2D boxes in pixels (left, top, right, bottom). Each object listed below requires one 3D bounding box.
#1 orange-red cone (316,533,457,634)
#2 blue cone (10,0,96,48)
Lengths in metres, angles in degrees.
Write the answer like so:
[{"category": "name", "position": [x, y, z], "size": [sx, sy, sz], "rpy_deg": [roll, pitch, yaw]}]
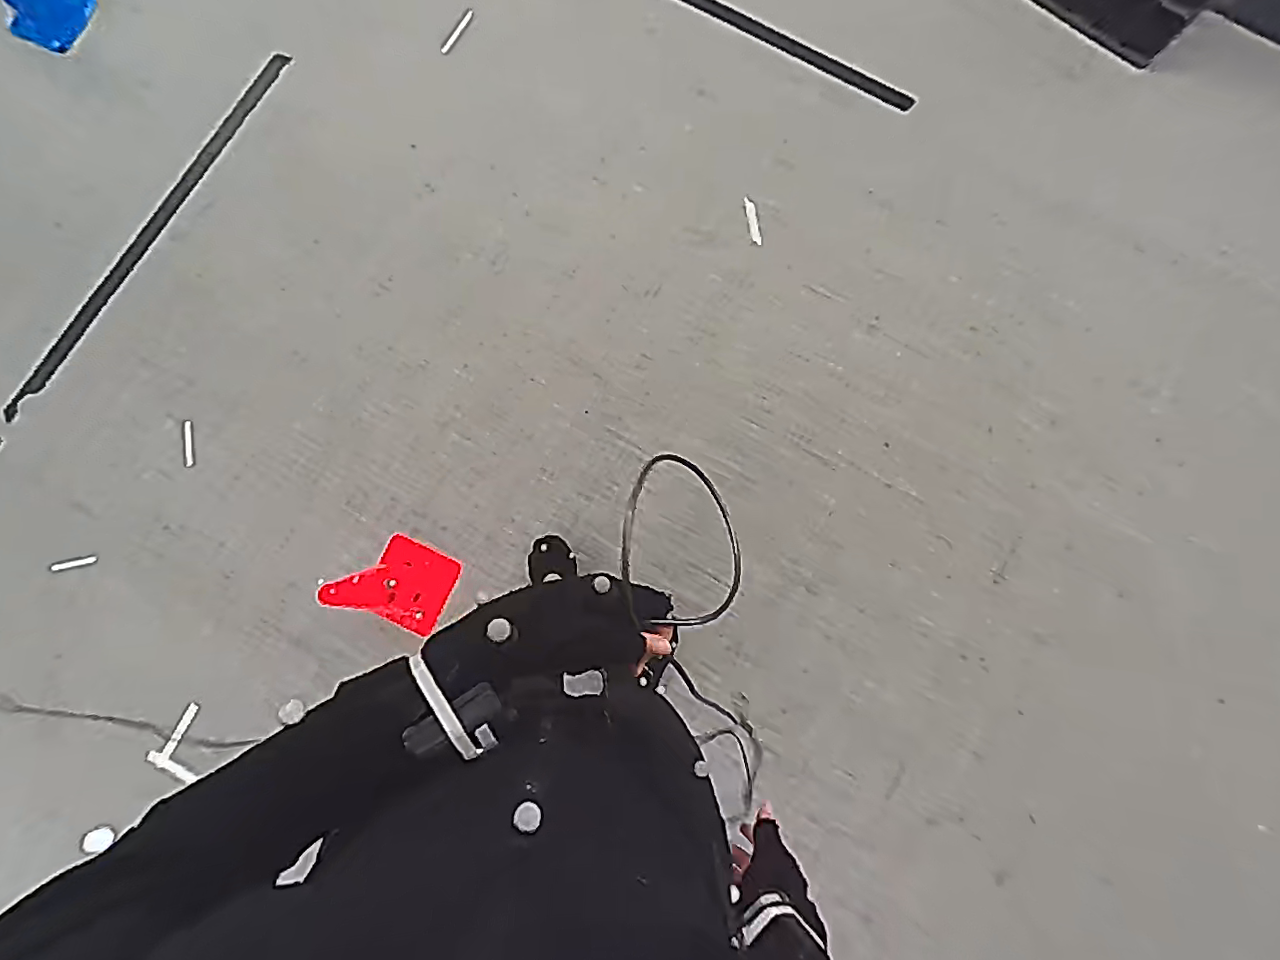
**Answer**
[{"category": "orange-red cone", "position": [-0.570, 0.226, 1.151], "size": [0.198, 0.360, 0.199], "rpy_deg": [26, 82, 4]}, {"category": "blue cone", "position": [-1.685, -1.365, 1.391], "size": [0.192, 0.380, 0.193], "rpy_deg": [25, 83, 4]}]
